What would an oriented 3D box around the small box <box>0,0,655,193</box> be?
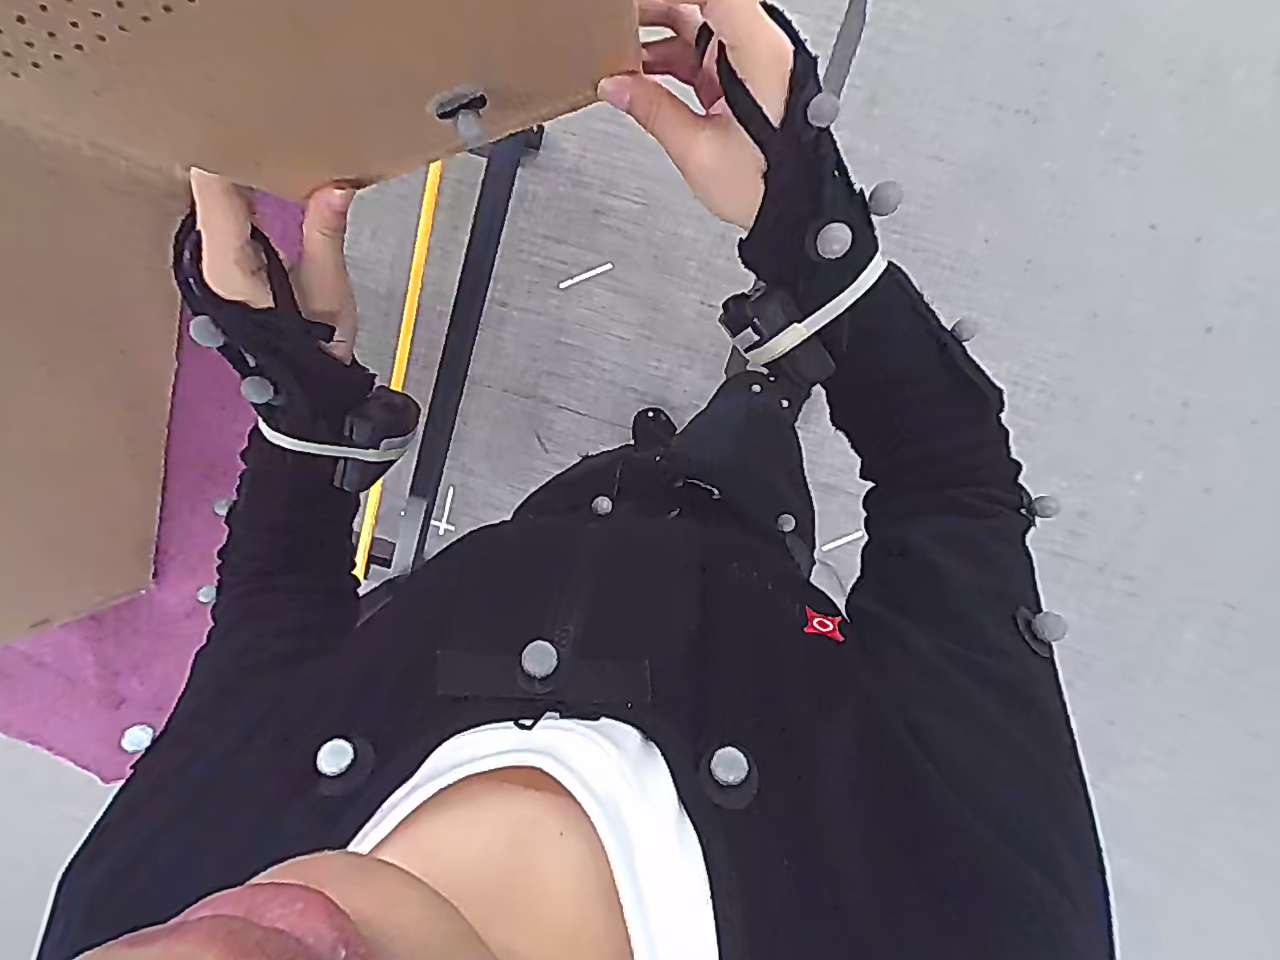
[{"bbox_3d":[-0.100,-0.214,0.158,0.179,0.176,0.168,-16,104,6],"label":"small box"}]
